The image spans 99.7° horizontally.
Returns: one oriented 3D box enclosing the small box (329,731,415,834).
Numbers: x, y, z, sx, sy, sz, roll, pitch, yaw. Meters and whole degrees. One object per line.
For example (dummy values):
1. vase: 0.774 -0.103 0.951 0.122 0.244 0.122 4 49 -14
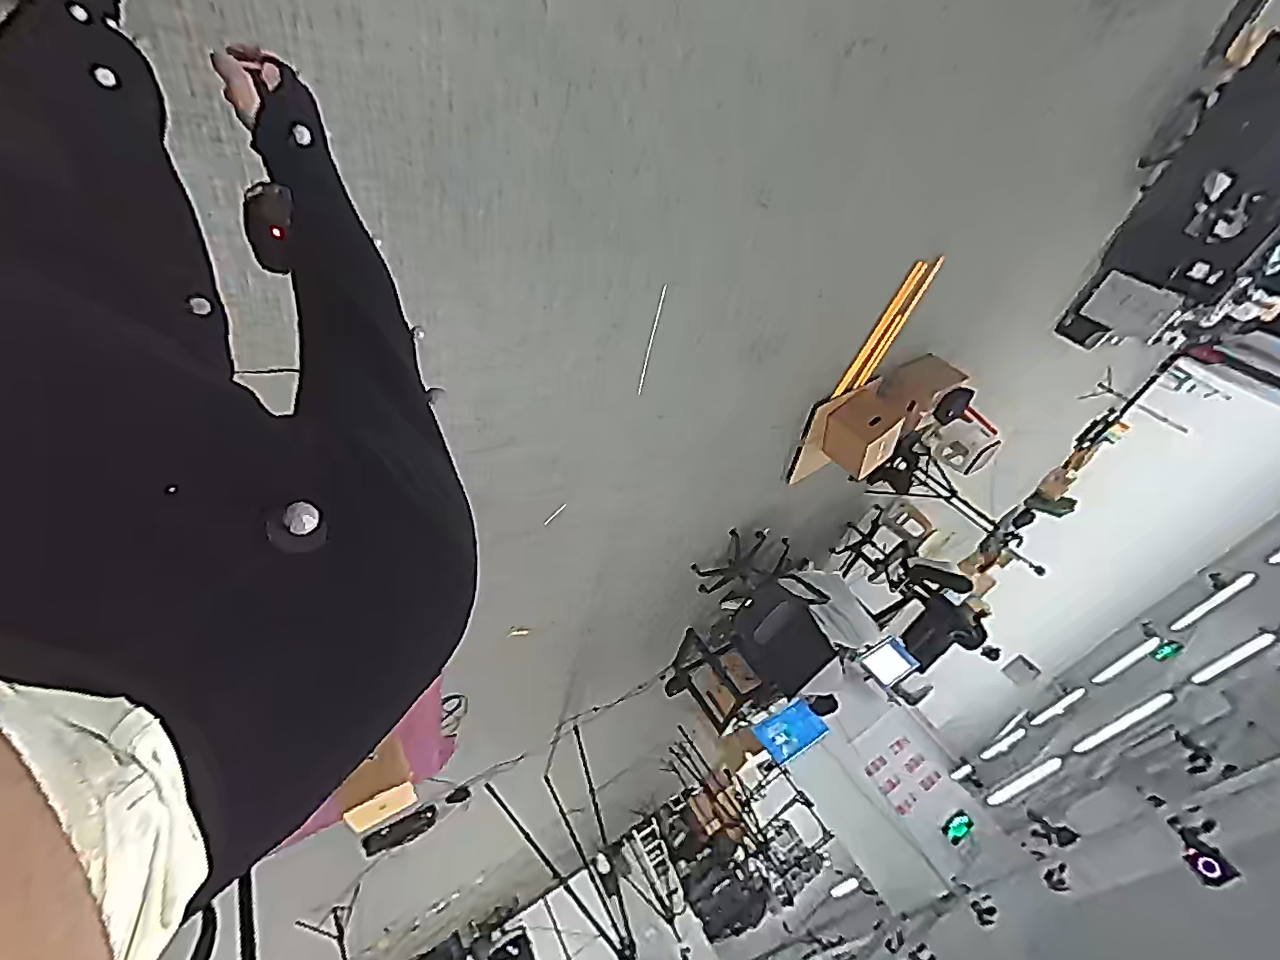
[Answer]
1. small box: -0.744 0.838 1.508 0.168 0.176 0.179 -19 140 -28
